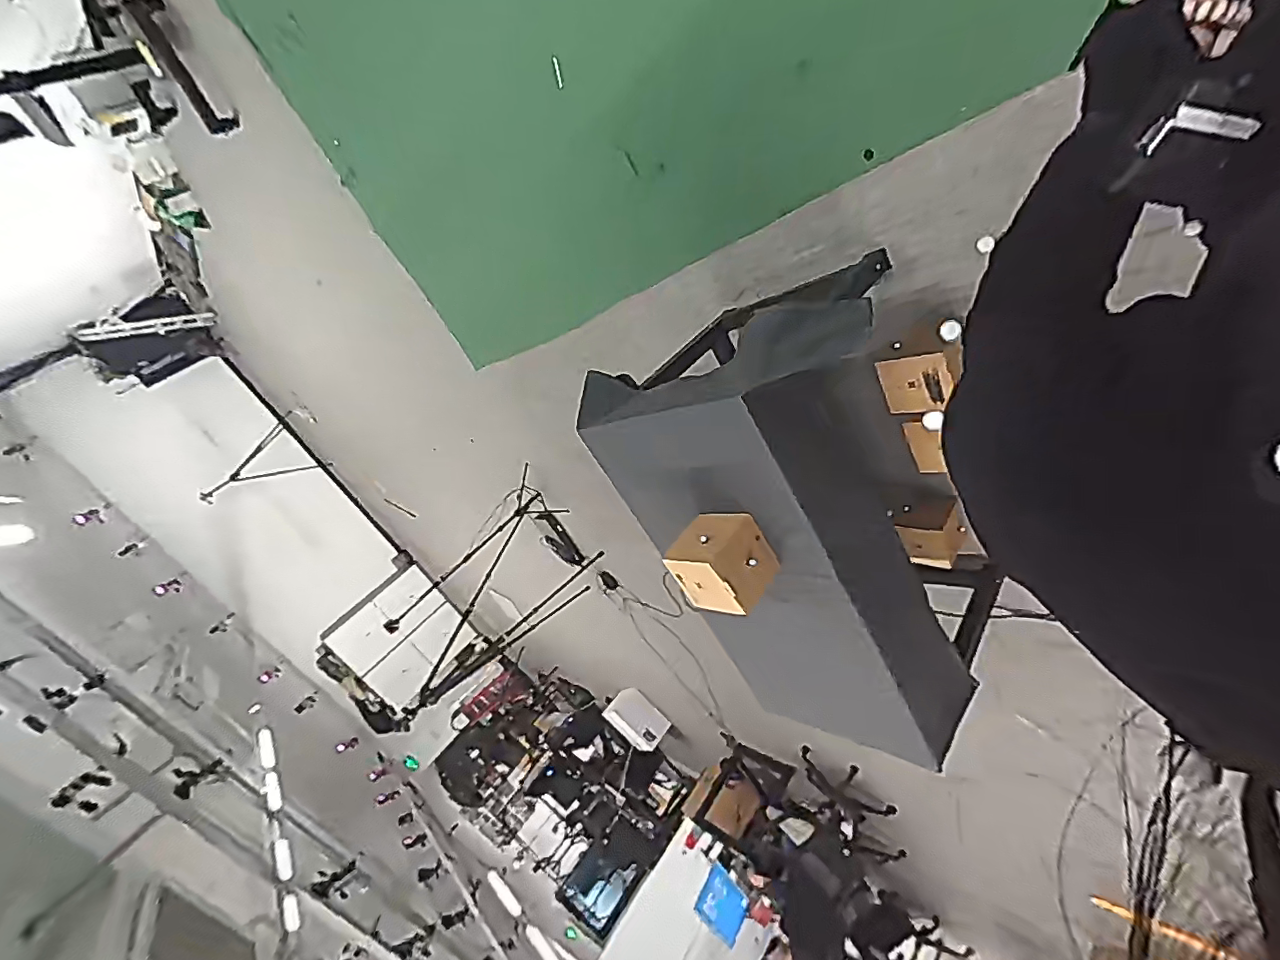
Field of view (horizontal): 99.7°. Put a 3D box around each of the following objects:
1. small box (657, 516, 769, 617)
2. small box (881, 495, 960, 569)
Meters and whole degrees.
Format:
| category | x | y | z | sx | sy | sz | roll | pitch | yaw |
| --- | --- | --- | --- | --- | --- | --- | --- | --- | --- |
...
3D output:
| category | x | y | z | sx | sy | sz | roll | pitch | yaw |
| --- | --- | --- | --- | --- | --- | --- | --- | --- | --- |
| small box | 0.180 | 0.196 | 1.275 | 0.179 | 0.176 | 0.168 | -8 | 122 | 53 |
| small box | 0.928 | 0.165 | 1.785 | 0.179 | 0.176 | 0.168 | 6 | 134 | 47 |
